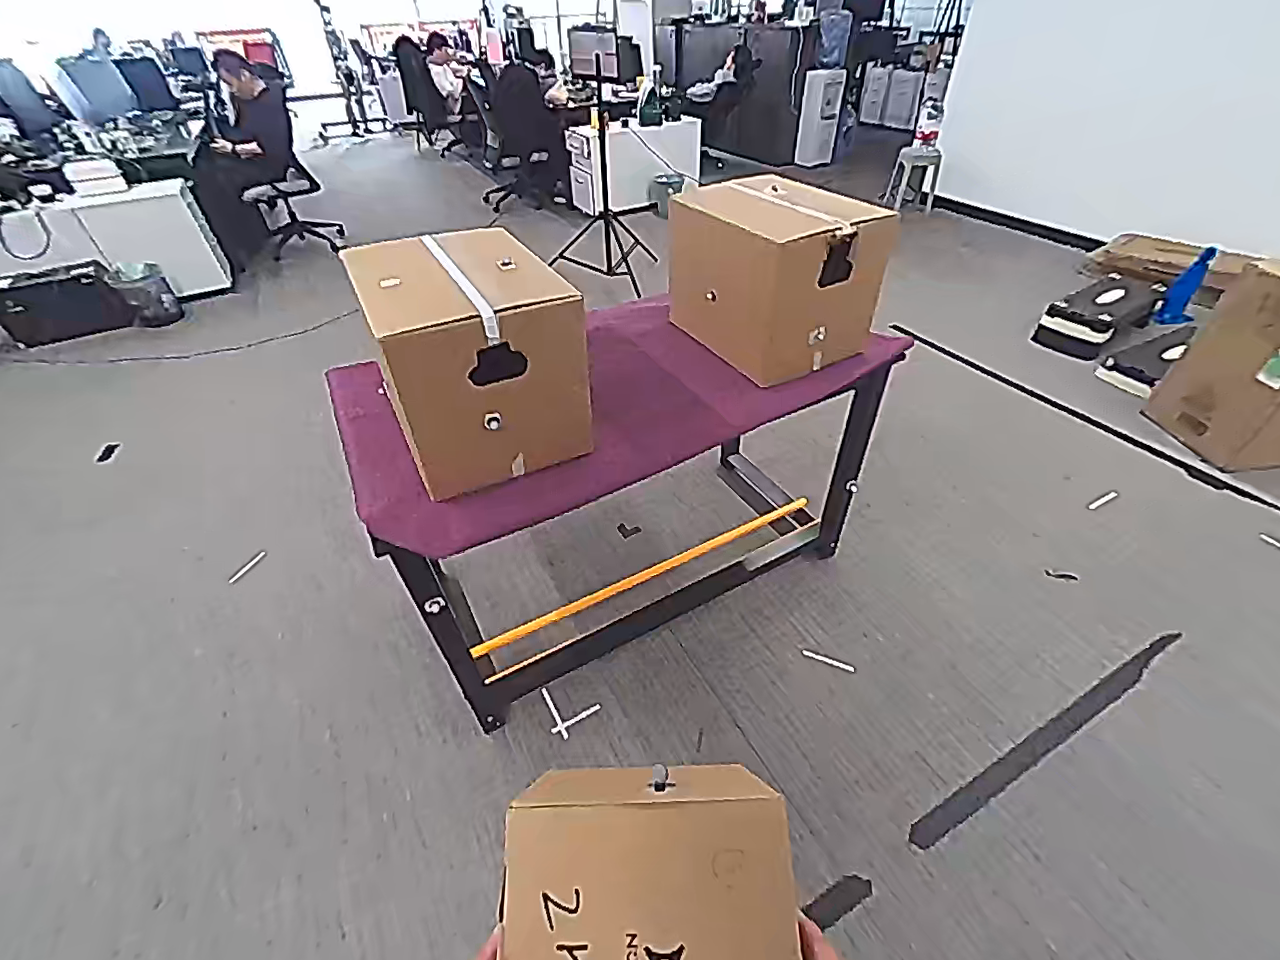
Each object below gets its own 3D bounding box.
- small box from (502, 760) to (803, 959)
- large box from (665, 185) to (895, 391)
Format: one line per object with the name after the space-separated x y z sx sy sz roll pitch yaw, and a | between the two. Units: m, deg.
0.008 0.301 0.384 0.179 0.176 0.168 -2 68 0 | small box
0.297 -0.461 1.263 0.320 0.320 0.408 -22 44 -21 | large box
